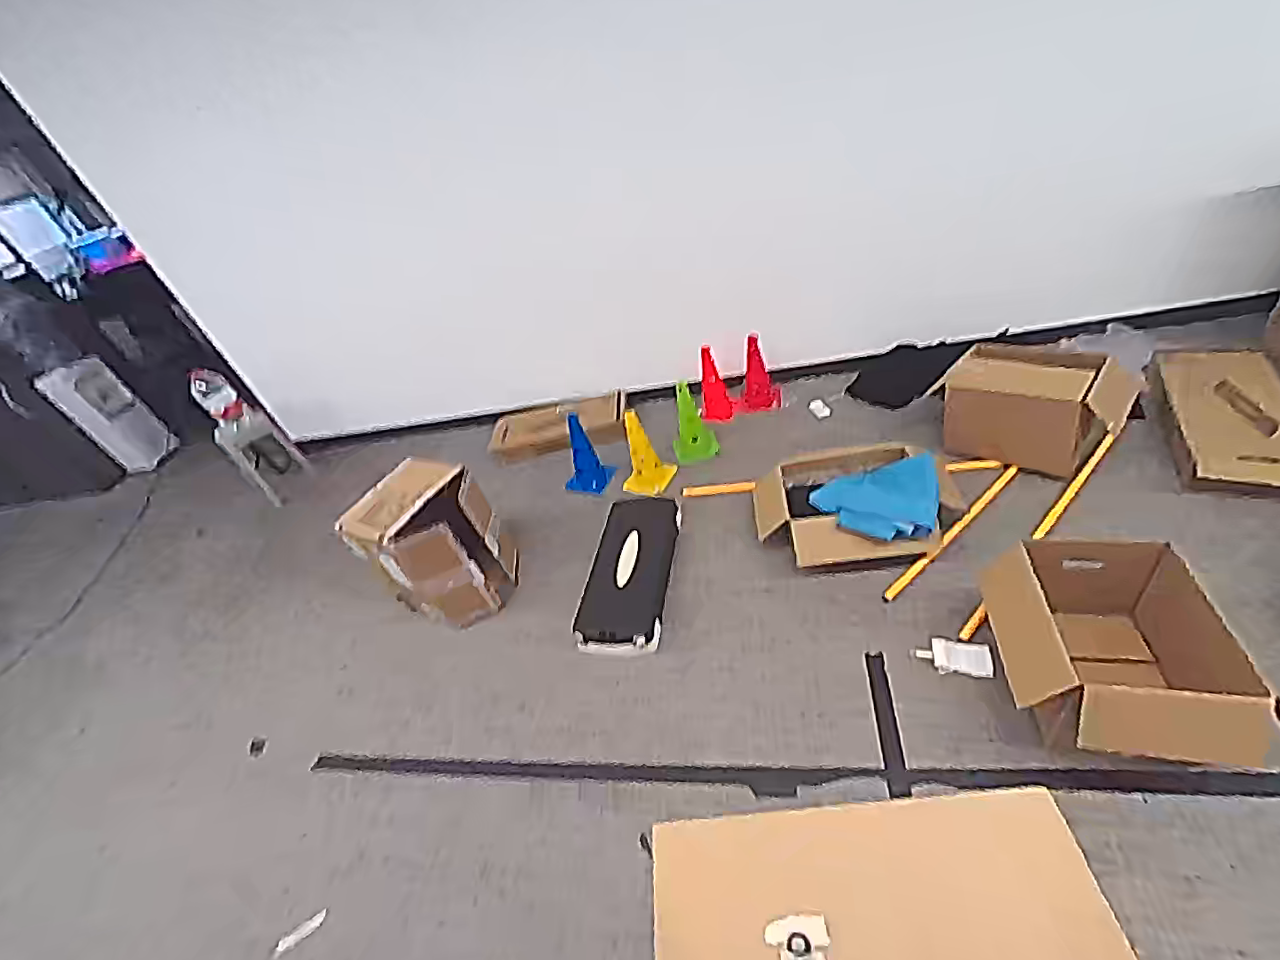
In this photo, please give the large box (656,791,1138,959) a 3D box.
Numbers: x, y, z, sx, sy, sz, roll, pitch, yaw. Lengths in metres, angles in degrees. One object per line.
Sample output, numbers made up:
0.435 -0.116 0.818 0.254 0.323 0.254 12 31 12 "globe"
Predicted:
0.253 0.552 0.548 0.408 0.320 0.320 -12 42 9 "large box"
